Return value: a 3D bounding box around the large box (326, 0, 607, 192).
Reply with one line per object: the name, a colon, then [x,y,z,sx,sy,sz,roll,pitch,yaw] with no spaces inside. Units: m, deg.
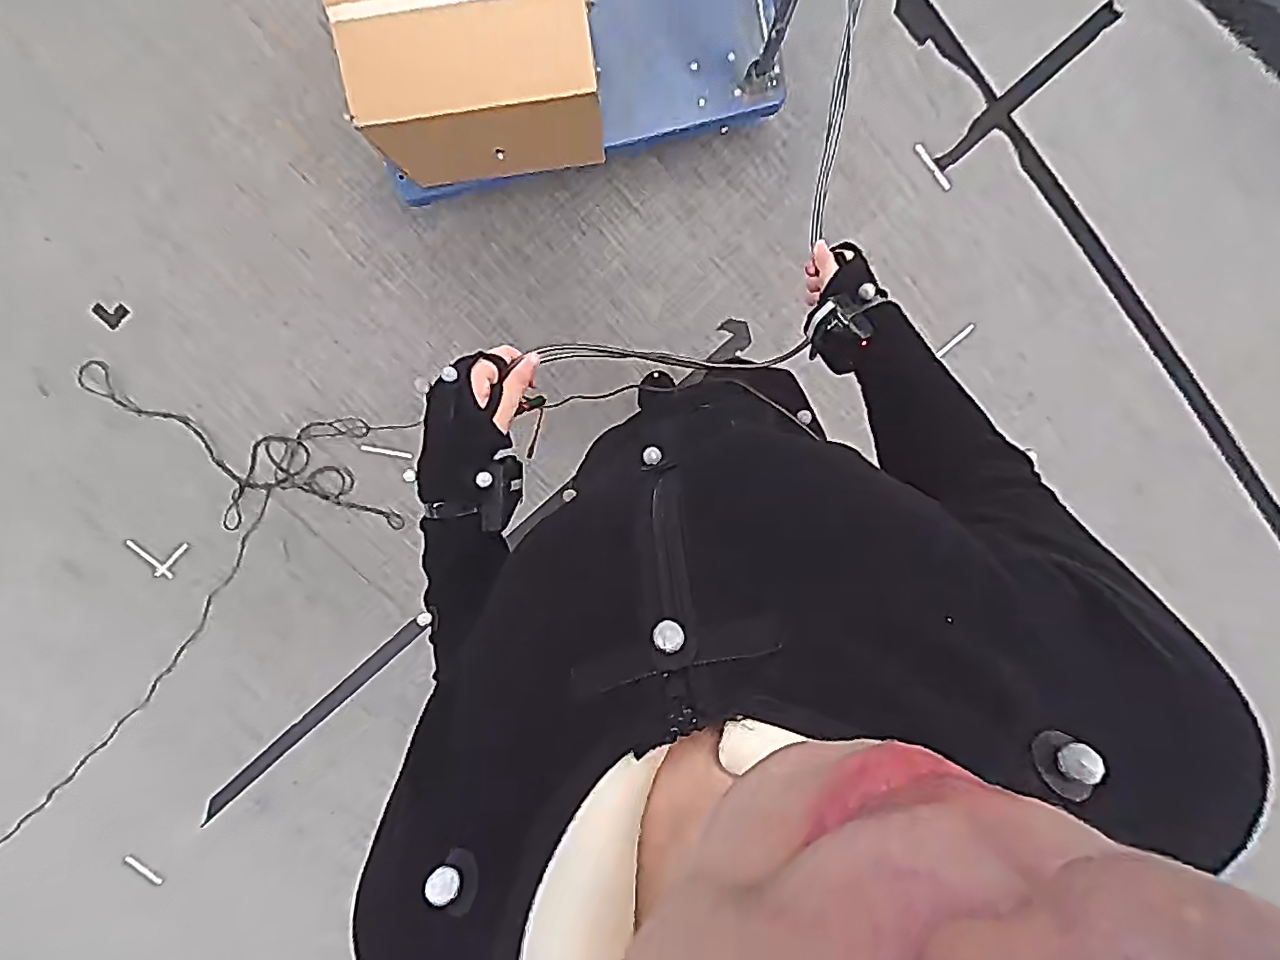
large box: [-0.288,-0.766,0.991,0.408,0.320,0.320,-8,101,1]
